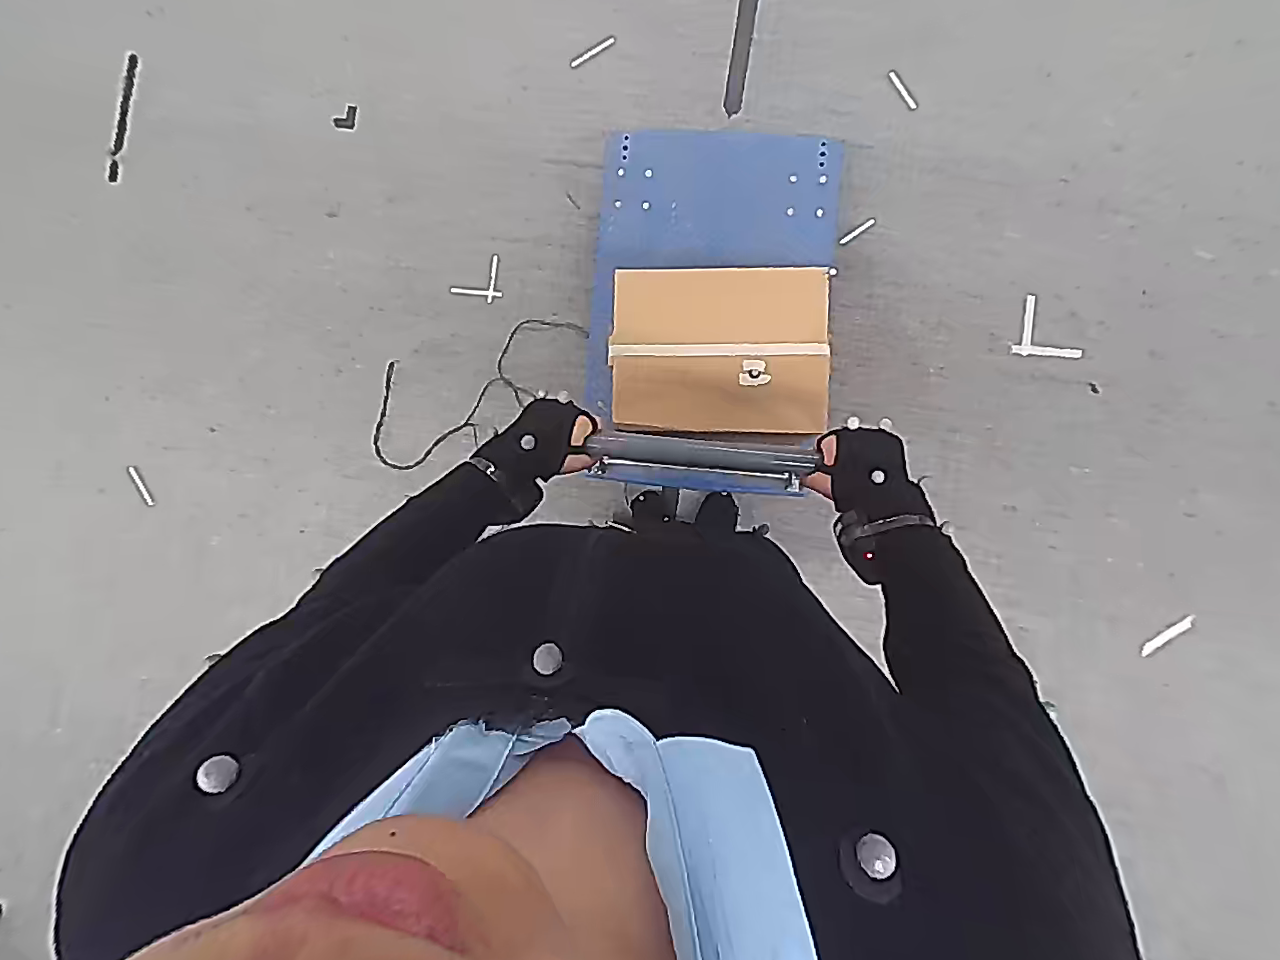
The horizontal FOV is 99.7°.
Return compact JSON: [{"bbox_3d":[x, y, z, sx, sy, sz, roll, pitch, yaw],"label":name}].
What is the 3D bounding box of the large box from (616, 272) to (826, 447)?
[{"bbox_3d":[0.160,-0.239,1.180,0.408,0.320,0.320,1,90,4],"label":"large box"}]
